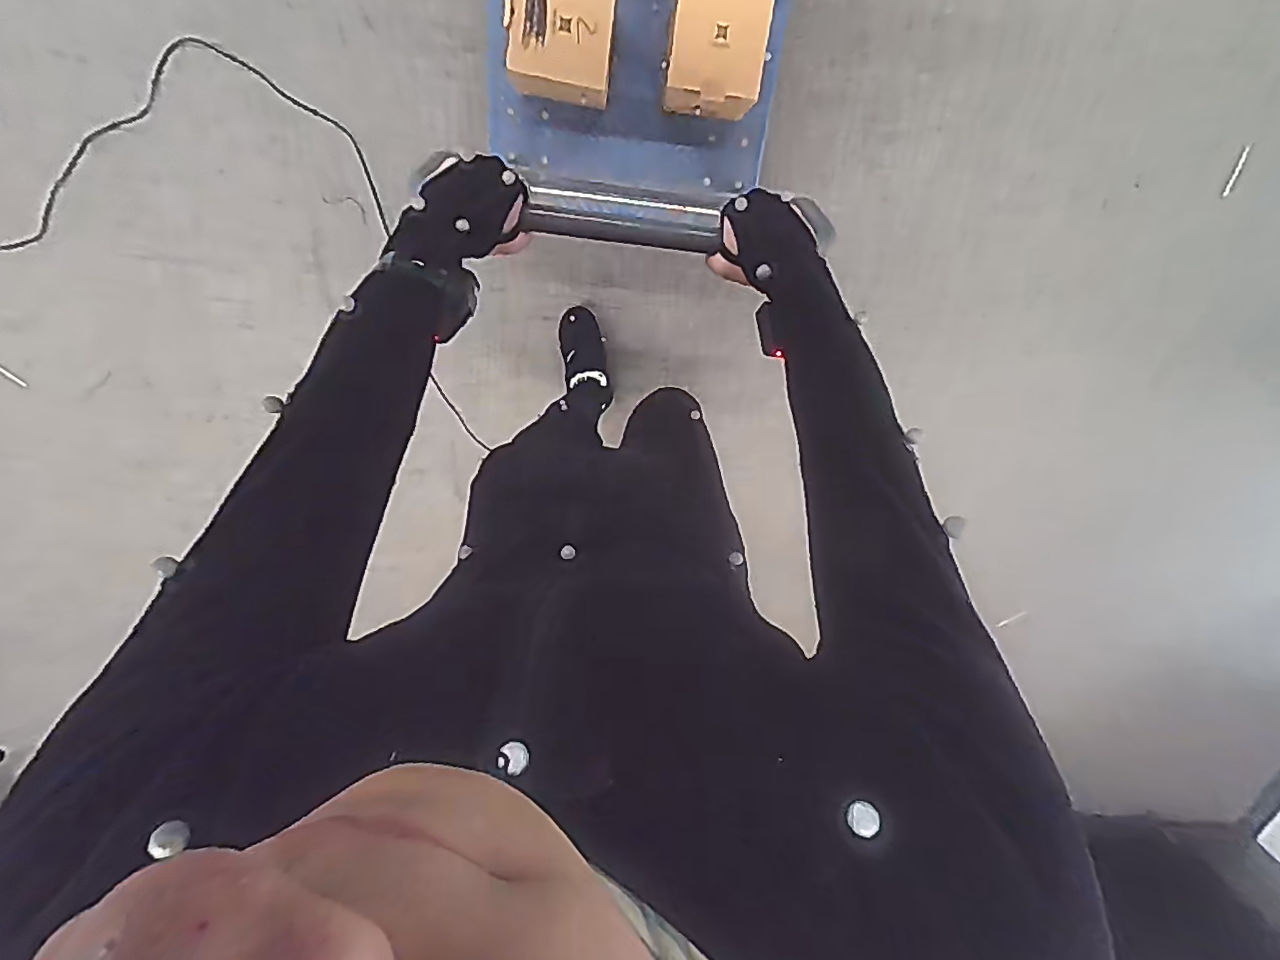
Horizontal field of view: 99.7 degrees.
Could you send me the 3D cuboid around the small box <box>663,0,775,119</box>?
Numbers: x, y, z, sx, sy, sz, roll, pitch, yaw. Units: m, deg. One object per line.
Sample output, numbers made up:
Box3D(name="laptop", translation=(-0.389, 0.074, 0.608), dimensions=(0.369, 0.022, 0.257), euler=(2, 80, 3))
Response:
Box3D(name="small box", translation=(0.138, -0.802, 1.009), dimensions=(0.168, 0.176, 0.179), euler=(5, 114, -5))
